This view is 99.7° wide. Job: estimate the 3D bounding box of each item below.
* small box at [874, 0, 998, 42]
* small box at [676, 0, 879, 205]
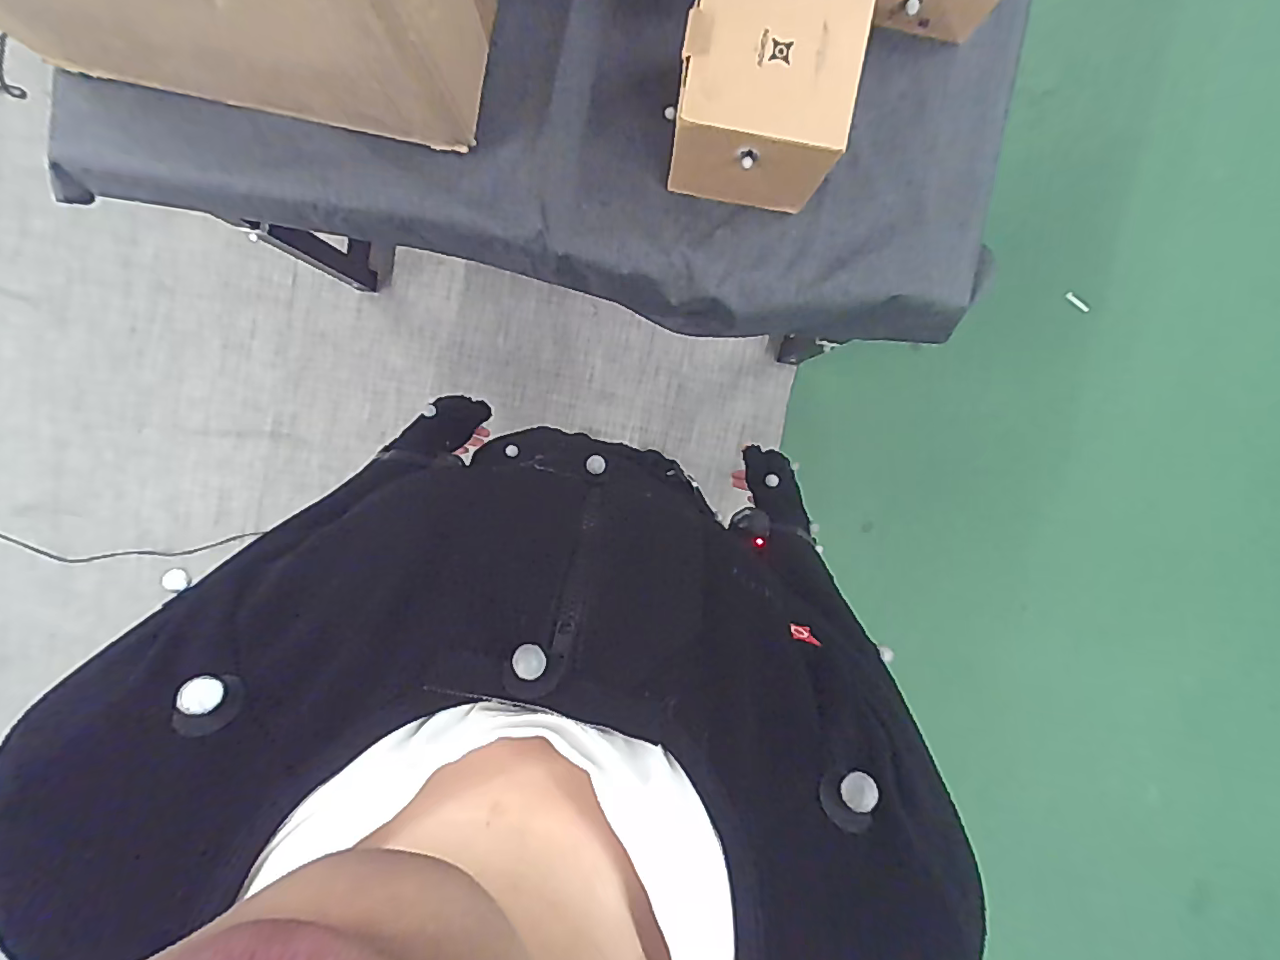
[{"bbox_3d":[0.355,-0.653,0.604,0.168,0.176,0.179,12,96,-1],"label":"small box"},{"bbox_3d":[0.142,-0.442,0.623,0.179,0.176,0.168,10,96,-2],"label":"small box"}]
